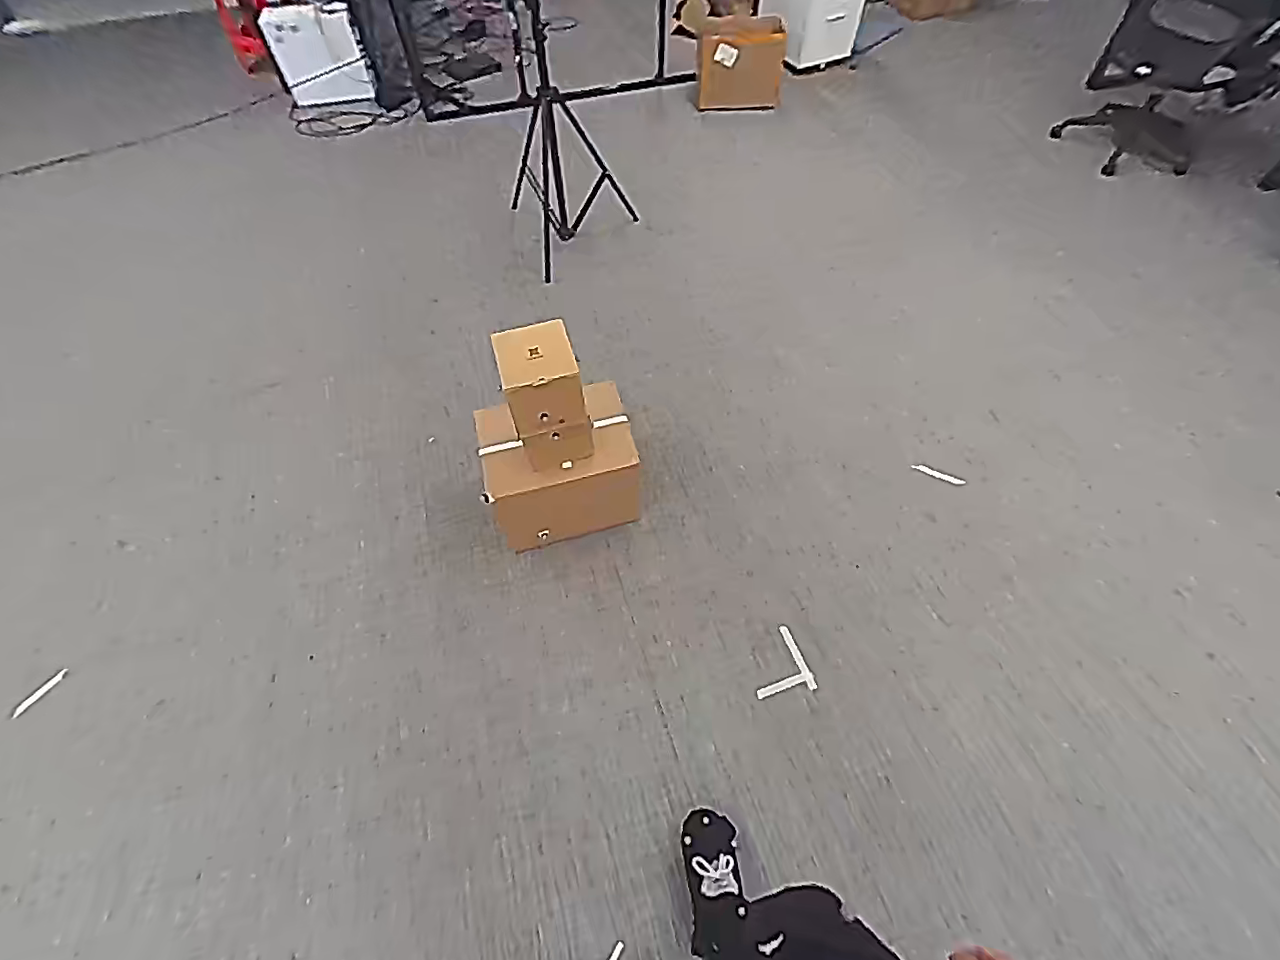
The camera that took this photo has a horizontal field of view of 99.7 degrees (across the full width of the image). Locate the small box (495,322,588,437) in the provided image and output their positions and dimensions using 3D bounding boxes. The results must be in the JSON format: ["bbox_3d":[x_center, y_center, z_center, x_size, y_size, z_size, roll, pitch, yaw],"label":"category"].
[{"bbox_3d":[-0.223,-0.228,1.245,0.168,0.176,0.179,-15,60,-9],"label":"small box"}]

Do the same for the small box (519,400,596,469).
[{"bbox_3d":[-0.219,-0.149,1.387,0.179,0.176,0.168,-16,60,-10],"label":"small box"}]
